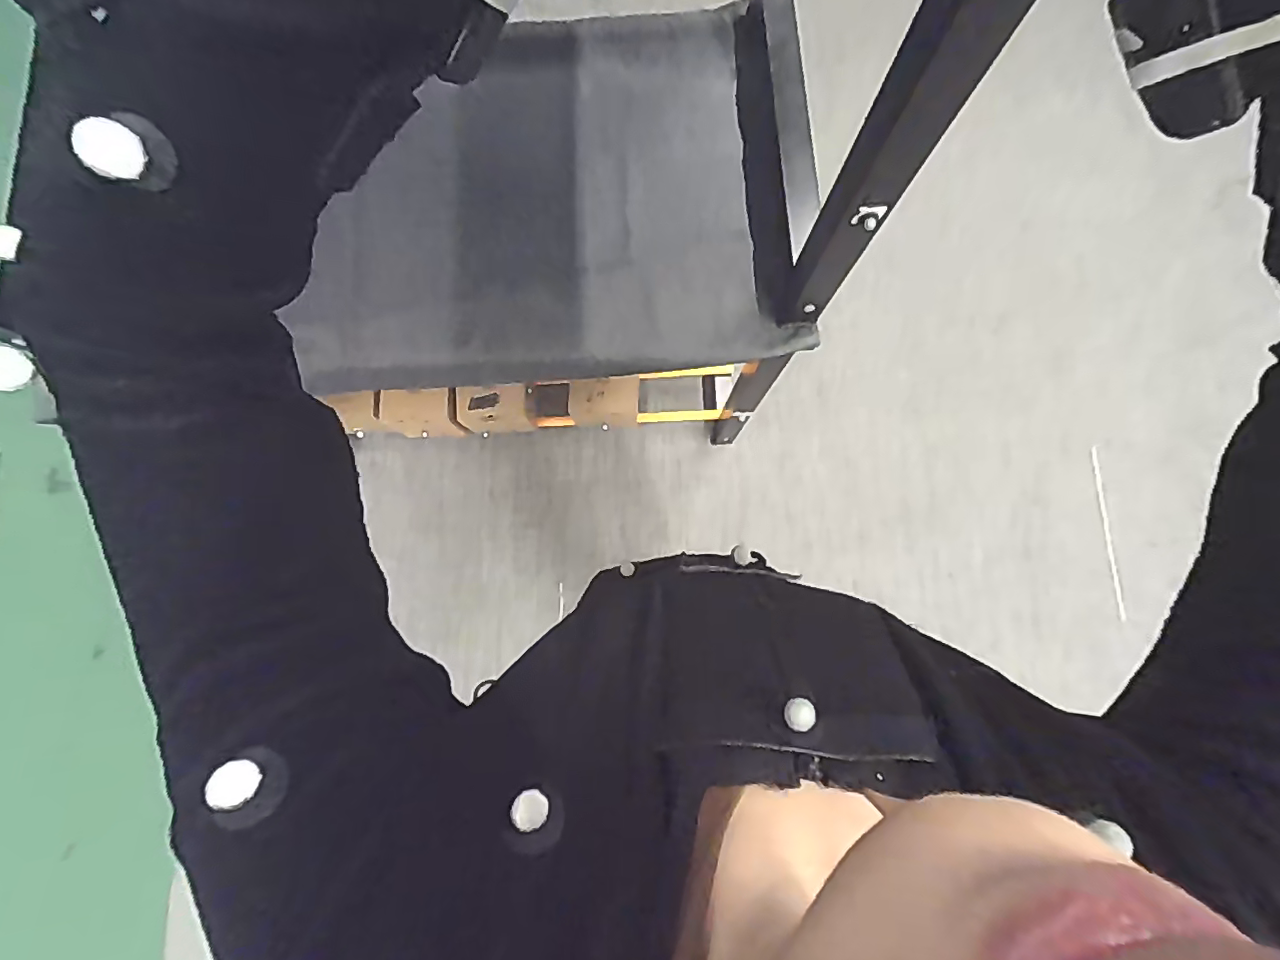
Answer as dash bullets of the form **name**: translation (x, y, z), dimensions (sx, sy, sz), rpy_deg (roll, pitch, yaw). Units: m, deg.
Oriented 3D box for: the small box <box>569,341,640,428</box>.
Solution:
- **small box**: translation (-0.086, -0.241, 1.397), dimensions (0.168, 0.176, 0.179), rpy_deg (2, 83, 2)
